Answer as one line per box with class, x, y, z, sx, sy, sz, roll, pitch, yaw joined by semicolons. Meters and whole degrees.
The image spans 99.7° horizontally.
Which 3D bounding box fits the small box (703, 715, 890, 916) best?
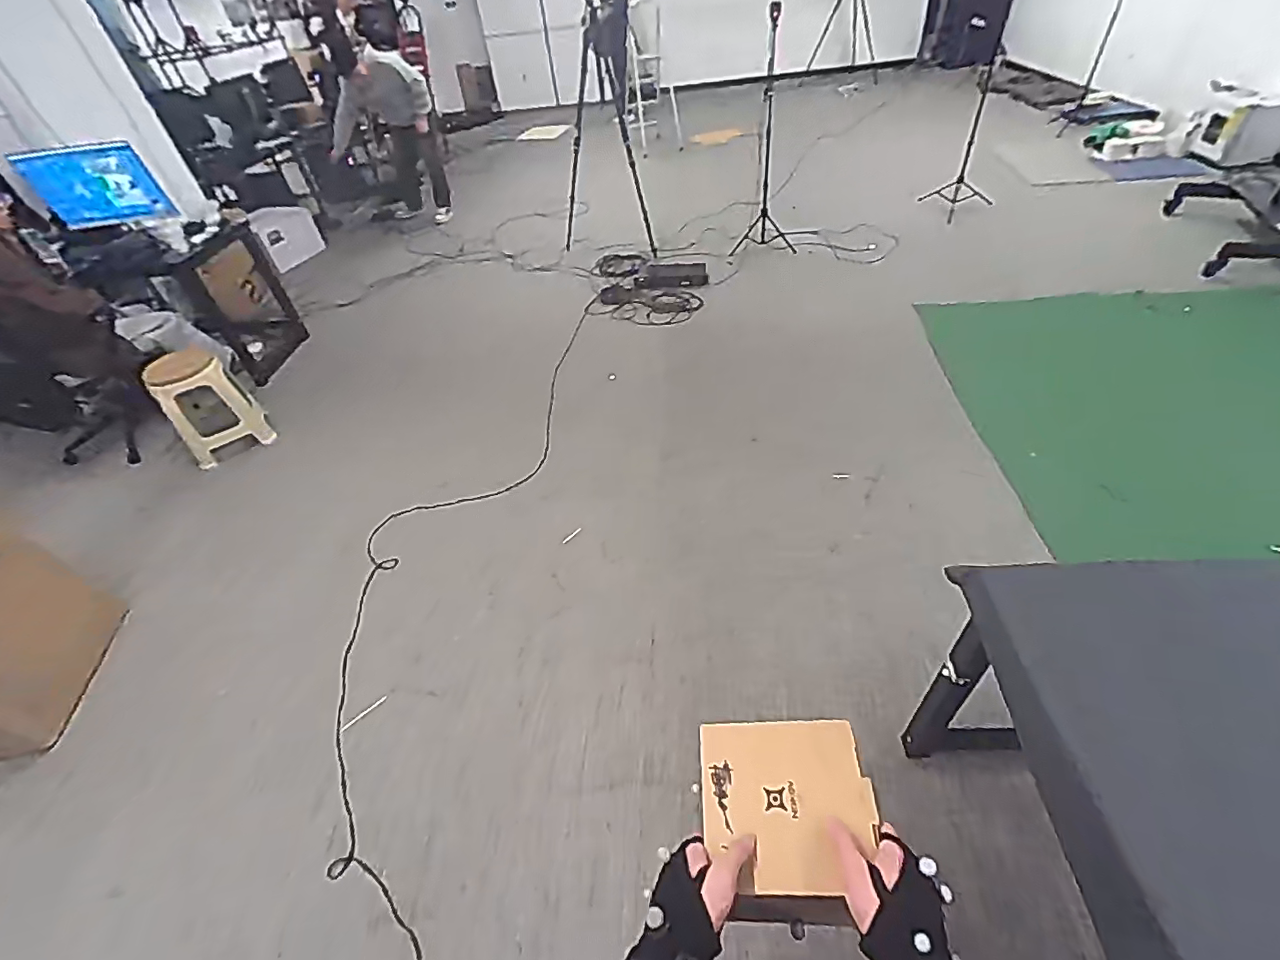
small box;0.166;0.388;0.627;0.179;0.176;0.168;-4;45;9
